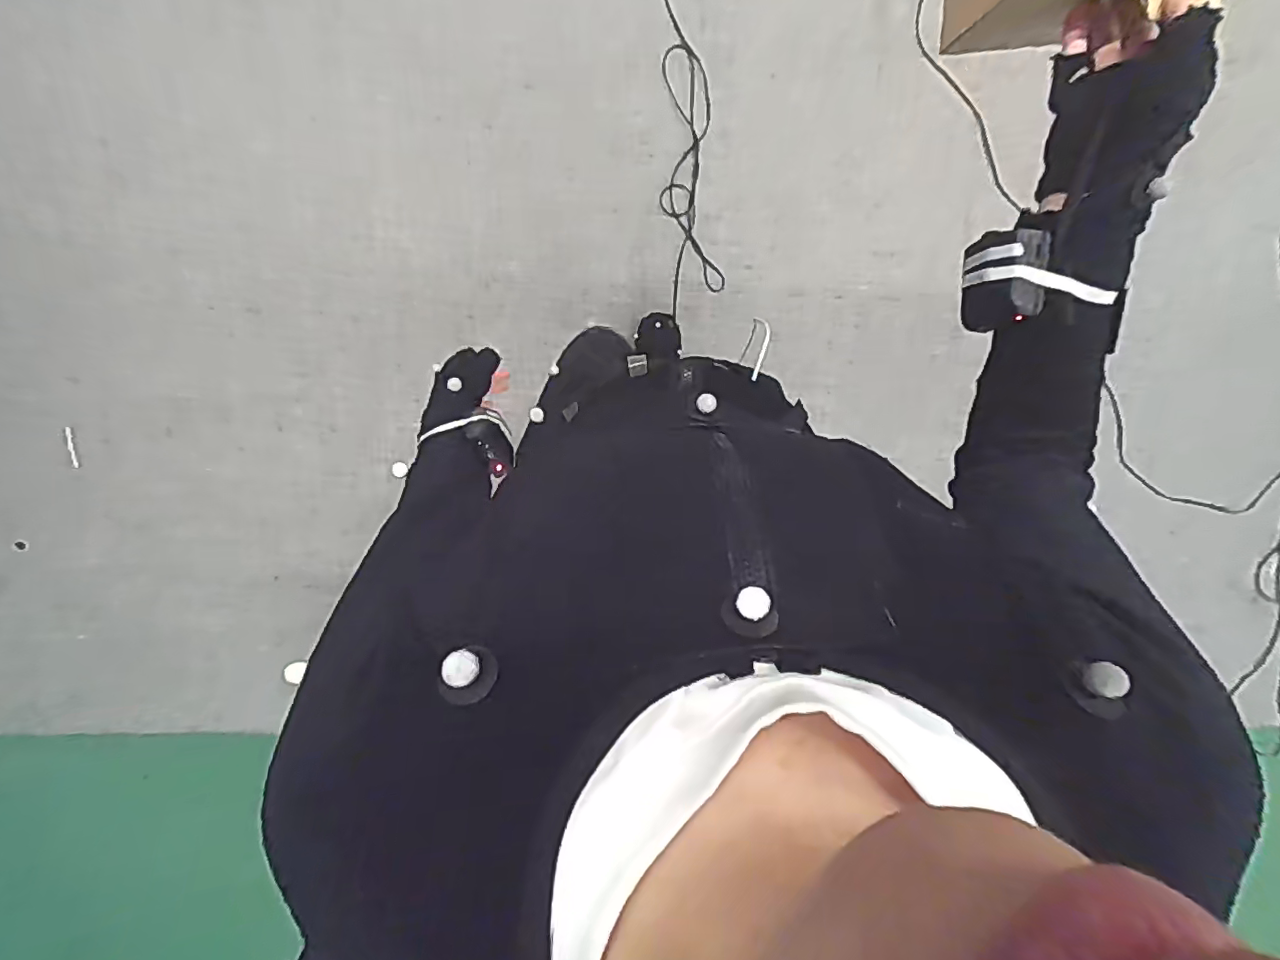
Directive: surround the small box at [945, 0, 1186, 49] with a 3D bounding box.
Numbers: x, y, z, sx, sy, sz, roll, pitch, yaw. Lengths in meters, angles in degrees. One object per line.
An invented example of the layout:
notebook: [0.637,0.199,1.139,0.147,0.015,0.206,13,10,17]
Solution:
small box: [0.336,-0.437,0.367,0.168,0.176,0.179,-2,110,4]
